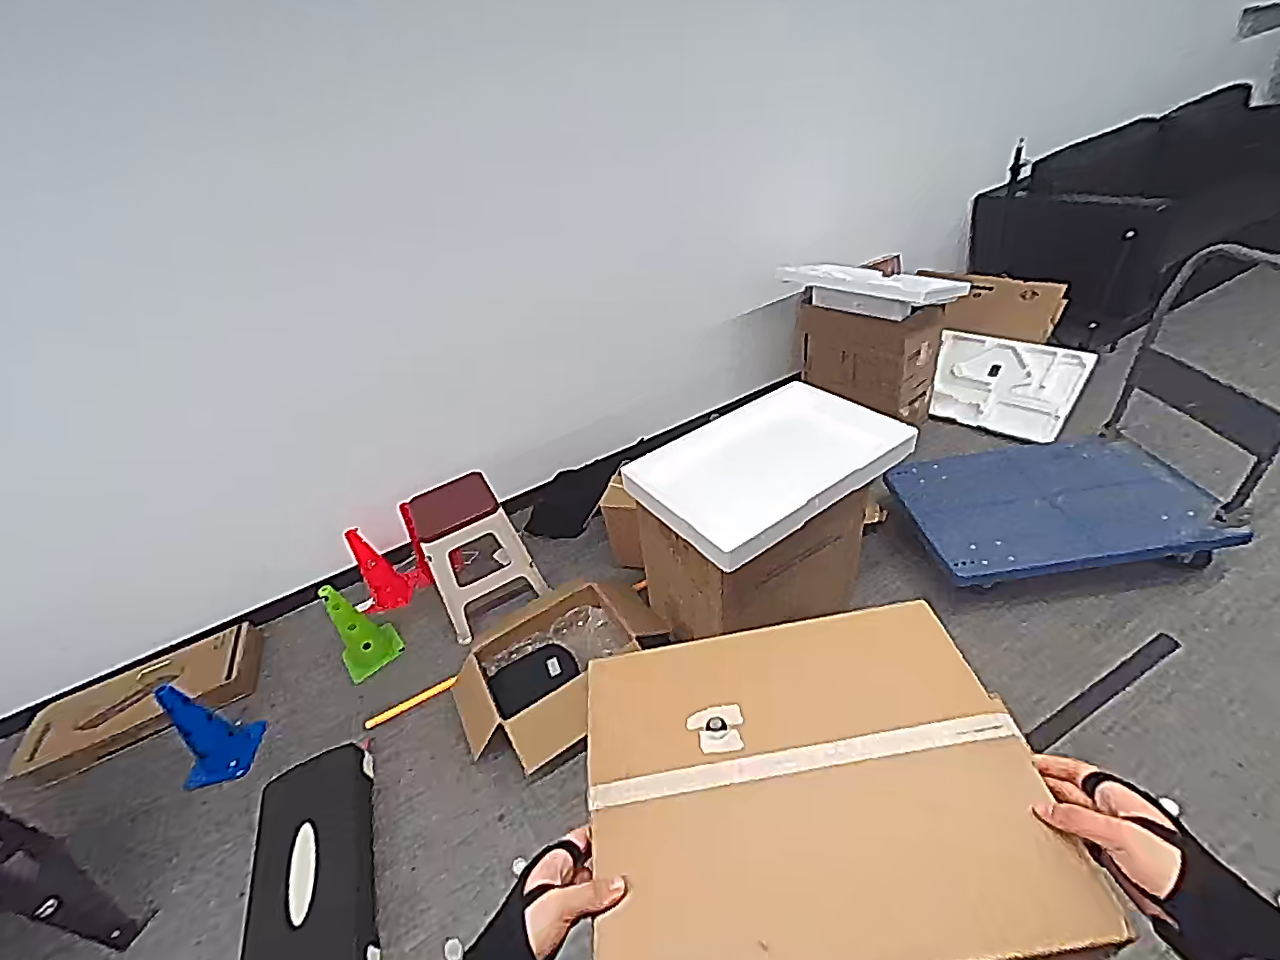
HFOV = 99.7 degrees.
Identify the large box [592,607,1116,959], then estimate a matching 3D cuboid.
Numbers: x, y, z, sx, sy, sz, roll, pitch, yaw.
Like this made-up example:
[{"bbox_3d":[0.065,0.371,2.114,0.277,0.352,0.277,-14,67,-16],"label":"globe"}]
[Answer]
[{"bbox_3d":[0.181,0.396,0.616,0.408,0.320,0.320,-12,36,3],"label":"large box"}]
